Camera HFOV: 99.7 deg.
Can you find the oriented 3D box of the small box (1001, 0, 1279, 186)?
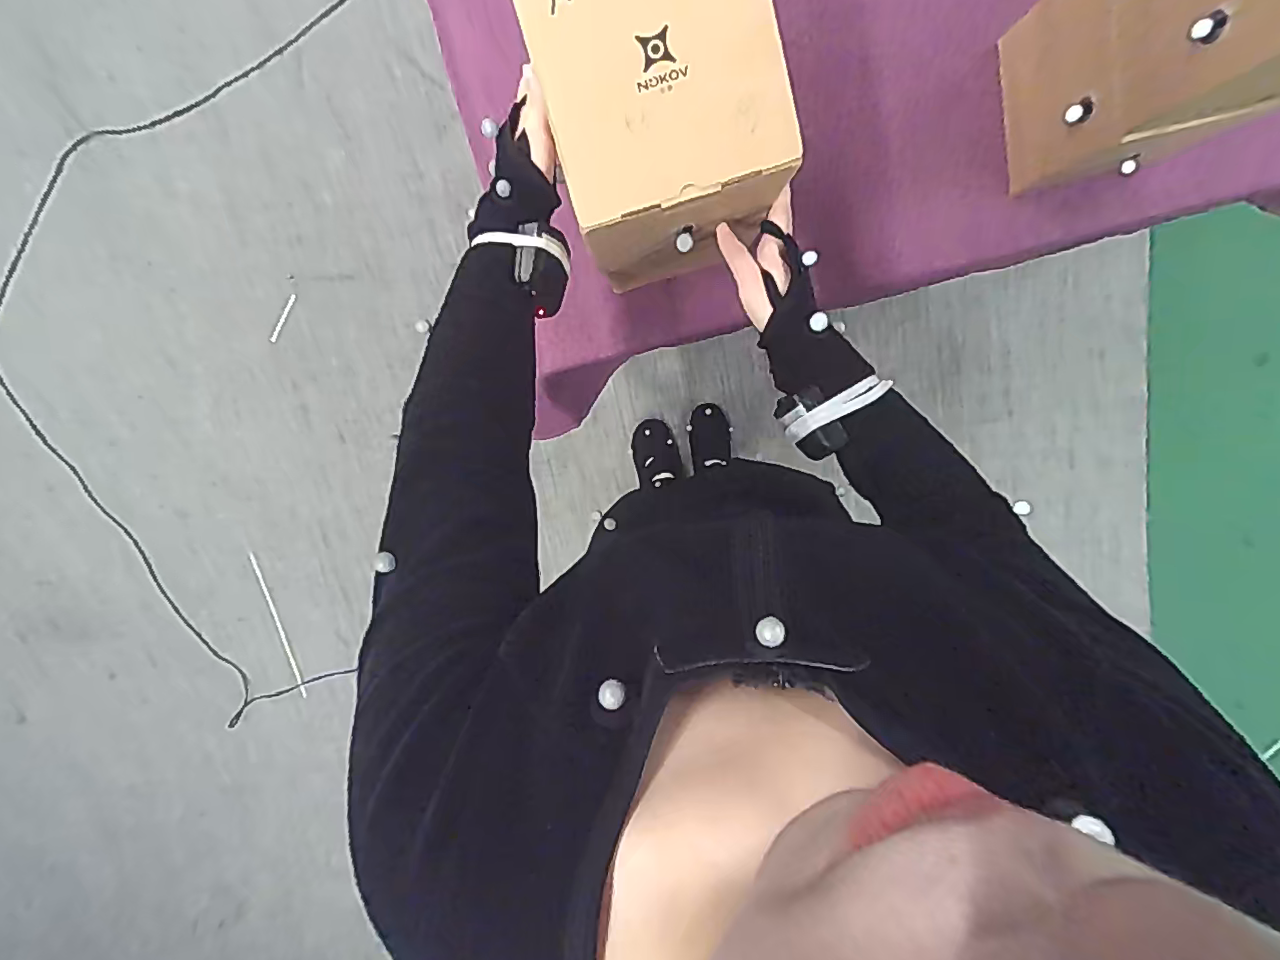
[{"bbox_3d":[0.511,-0.429,0.561,0.168,0.176,0.179,-12,101,5],"label":"small box"}]

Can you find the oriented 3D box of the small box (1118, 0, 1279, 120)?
[{"bbox_3d":[0.503,-0.399,0.400,0.168,0.176,0.179,-10,101,4],"label":"small box"}]

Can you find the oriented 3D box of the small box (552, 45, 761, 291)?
[{"bbox_3d":[0.021,-0.325,0.606,0.179,0.176,0.168,-15,100,5],"label":"small box"}]
